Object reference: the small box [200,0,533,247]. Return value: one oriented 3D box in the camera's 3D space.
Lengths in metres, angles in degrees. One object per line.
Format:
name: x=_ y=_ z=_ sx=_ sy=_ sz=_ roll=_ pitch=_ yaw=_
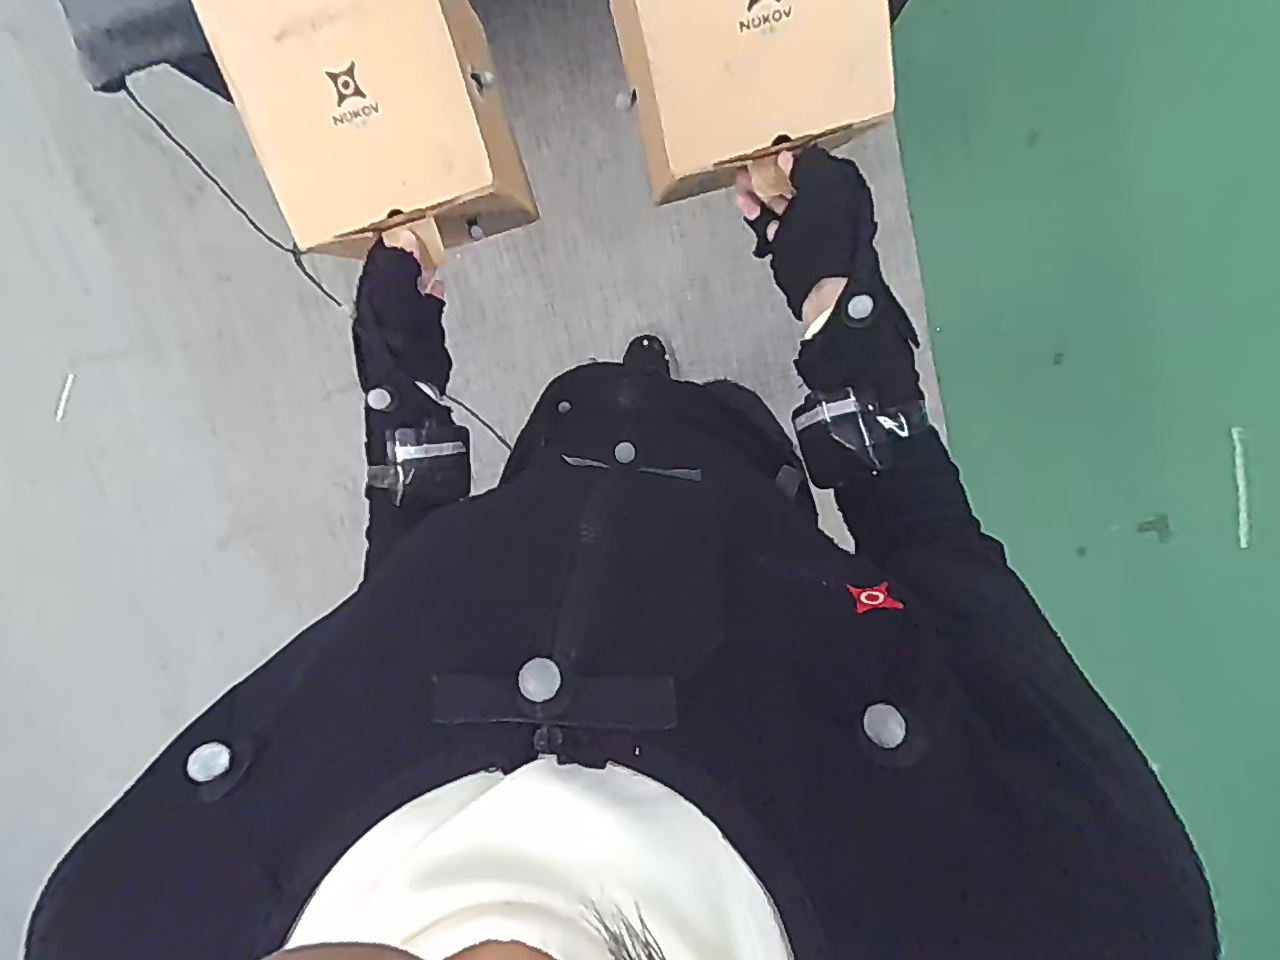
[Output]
small box: x=-0.205 y=-0.311 z=0.461 sx=0.168 sy=0.176 sz=0.179 roll=-15 pitch=106 yaw=5
